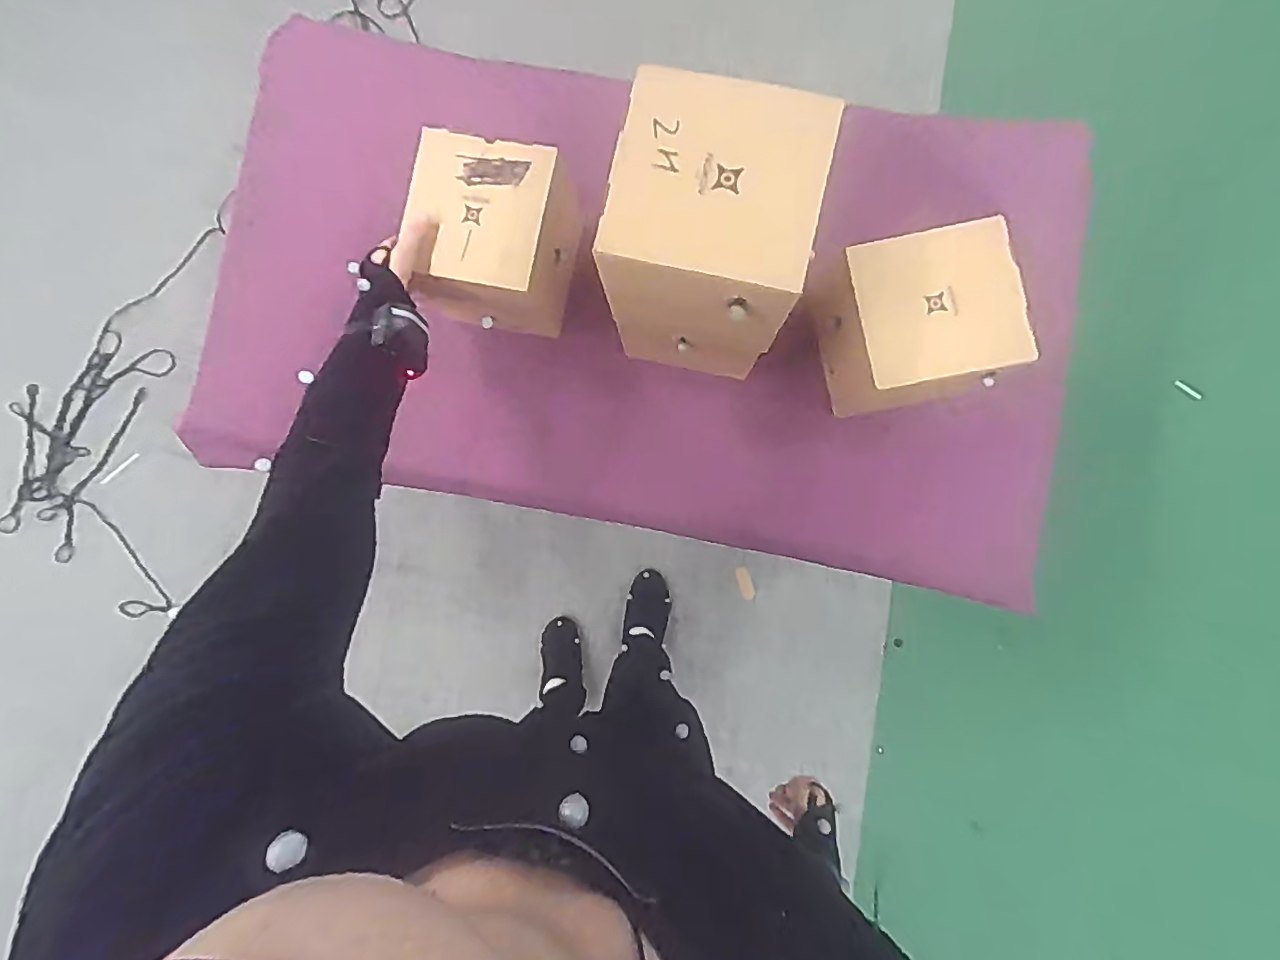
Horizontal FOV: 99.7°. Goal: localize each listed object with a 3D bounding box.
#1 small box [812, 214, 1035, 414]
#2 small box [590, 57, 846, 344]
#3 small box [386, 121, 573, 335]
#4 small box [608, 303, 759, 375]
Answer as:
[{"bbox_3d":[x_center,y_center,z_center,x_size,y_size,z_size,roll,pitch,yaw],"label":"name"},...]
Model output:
[{"bbox_3d":[0.323,-0.186,0.660,0.179,0.176,0.168,-11,85,2],"label":"small box"},{"bbox_3d":[0.066,-0.241,0.512,0.179,0.176,0.168,14,87,4],"label":"small box"},{"bbox_3d":[-0.189,-0.307,0.691,0.168,0.176,0.179,12,88,4],"label":"small box"},{"bbox_3d":[0.070,-0.242,0.676,0.179,0.176,0.168,13,88,3],"label":"small box"}]
